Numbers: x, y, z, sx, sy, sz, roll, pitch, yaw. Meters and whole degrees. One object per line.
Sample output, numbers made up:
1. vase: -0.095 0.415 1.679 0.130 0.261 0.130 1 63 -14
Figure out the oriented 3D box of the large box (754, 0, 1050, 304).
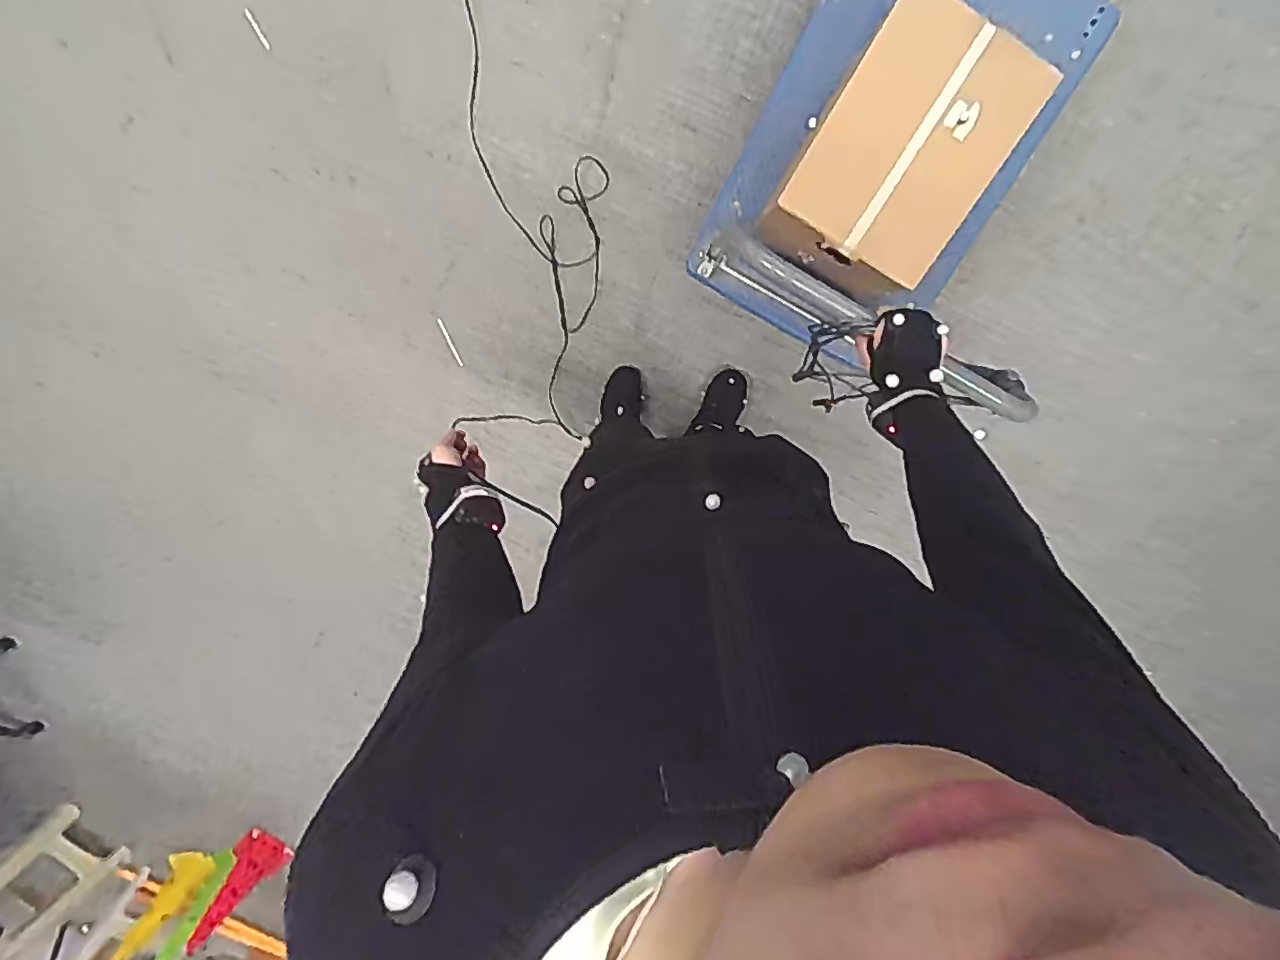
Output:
1. large box: 0.483 -0.621 1.103 0.320 0.320 0.408 30 105 -6
